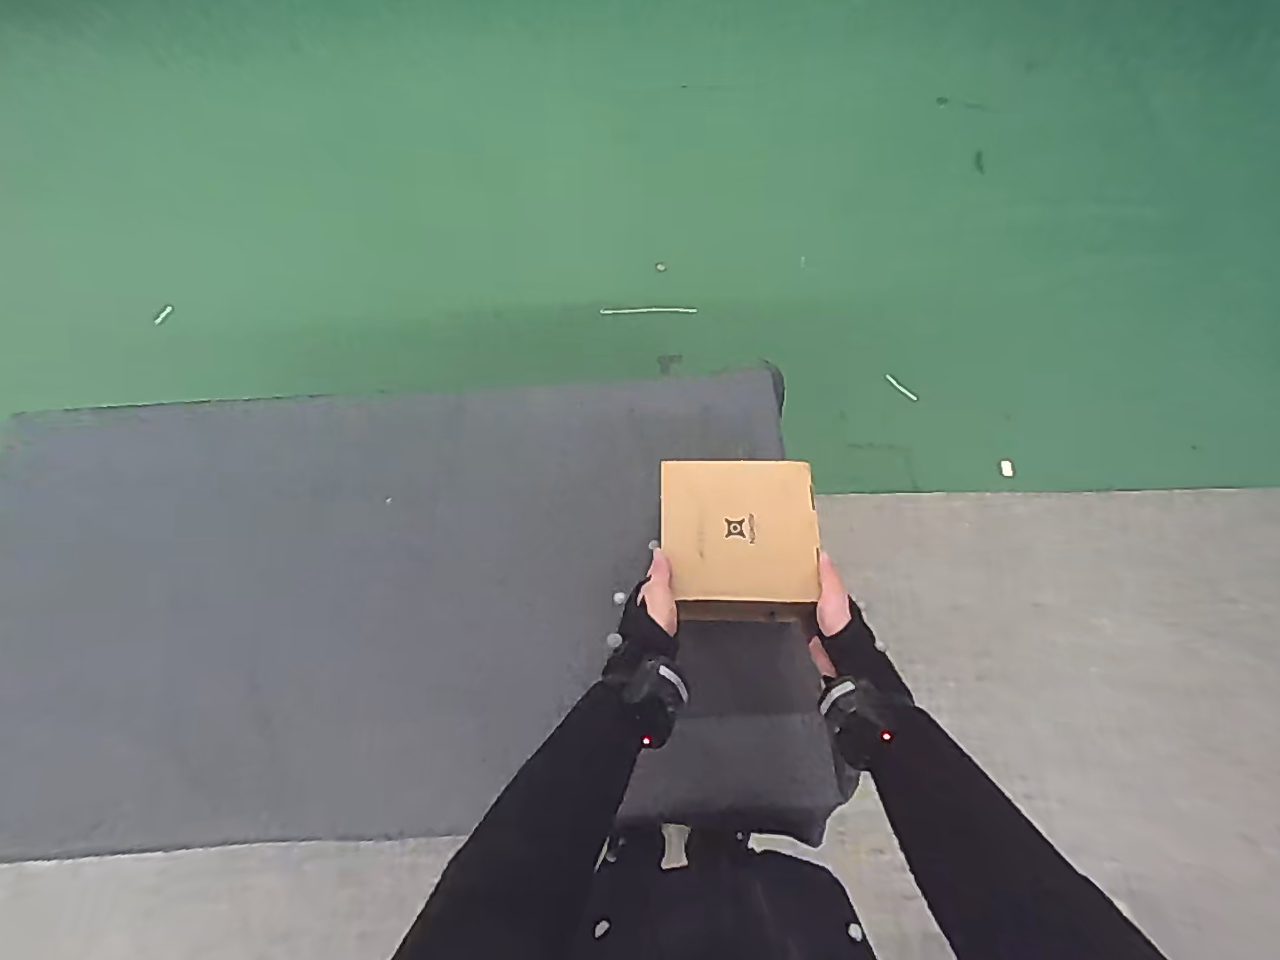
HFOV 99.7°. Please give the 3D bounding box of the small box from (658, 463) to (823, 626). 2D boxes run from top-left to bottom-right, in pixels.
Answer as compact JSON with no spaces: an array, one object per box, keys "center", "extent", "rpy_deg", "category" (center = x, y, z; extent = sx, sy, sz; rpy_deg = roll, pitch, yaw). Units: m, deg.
[{"center":[0.112,0.086,0.674],"extent":[0.179,0.176,0.168],"rpy_deg":[-1,67,4],"category":"small box"}]
